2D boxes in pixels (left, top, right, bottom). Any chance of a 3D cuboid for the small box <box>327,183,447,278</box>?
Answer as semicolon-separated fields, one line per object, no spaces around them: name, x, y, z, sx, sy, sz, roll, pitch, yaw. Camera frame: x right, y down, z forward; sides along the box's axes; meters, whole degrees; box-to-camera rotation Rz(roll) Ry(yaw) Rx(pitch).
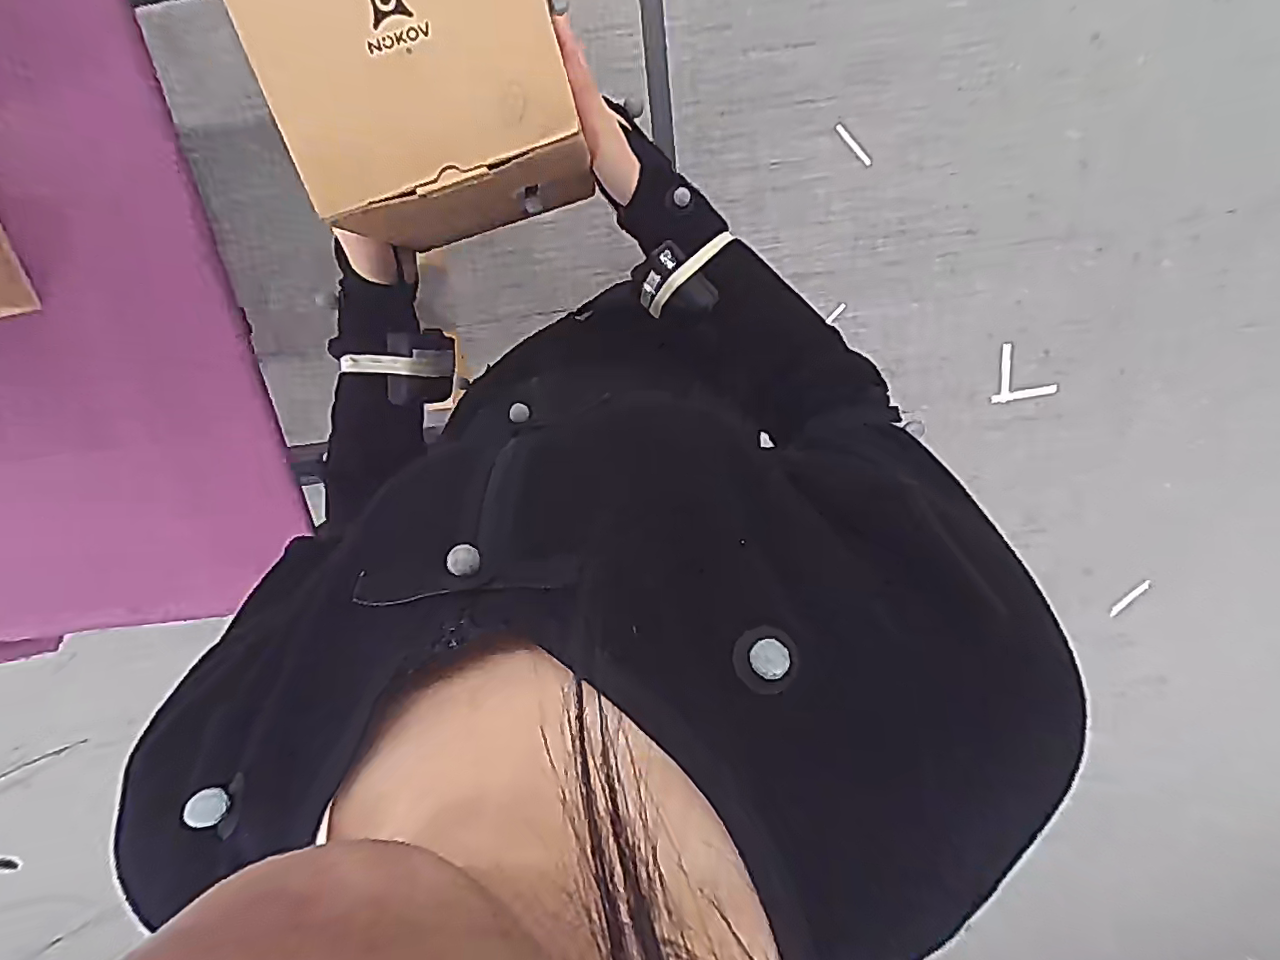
small box;-0.569;-0.564;1.240;0.179;0.176;0.168;-8;109;1

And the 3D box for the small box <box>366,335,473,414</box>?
small box;-0.537;-0.265;1.341;0.179;0.176;0.168;-6;108;2
